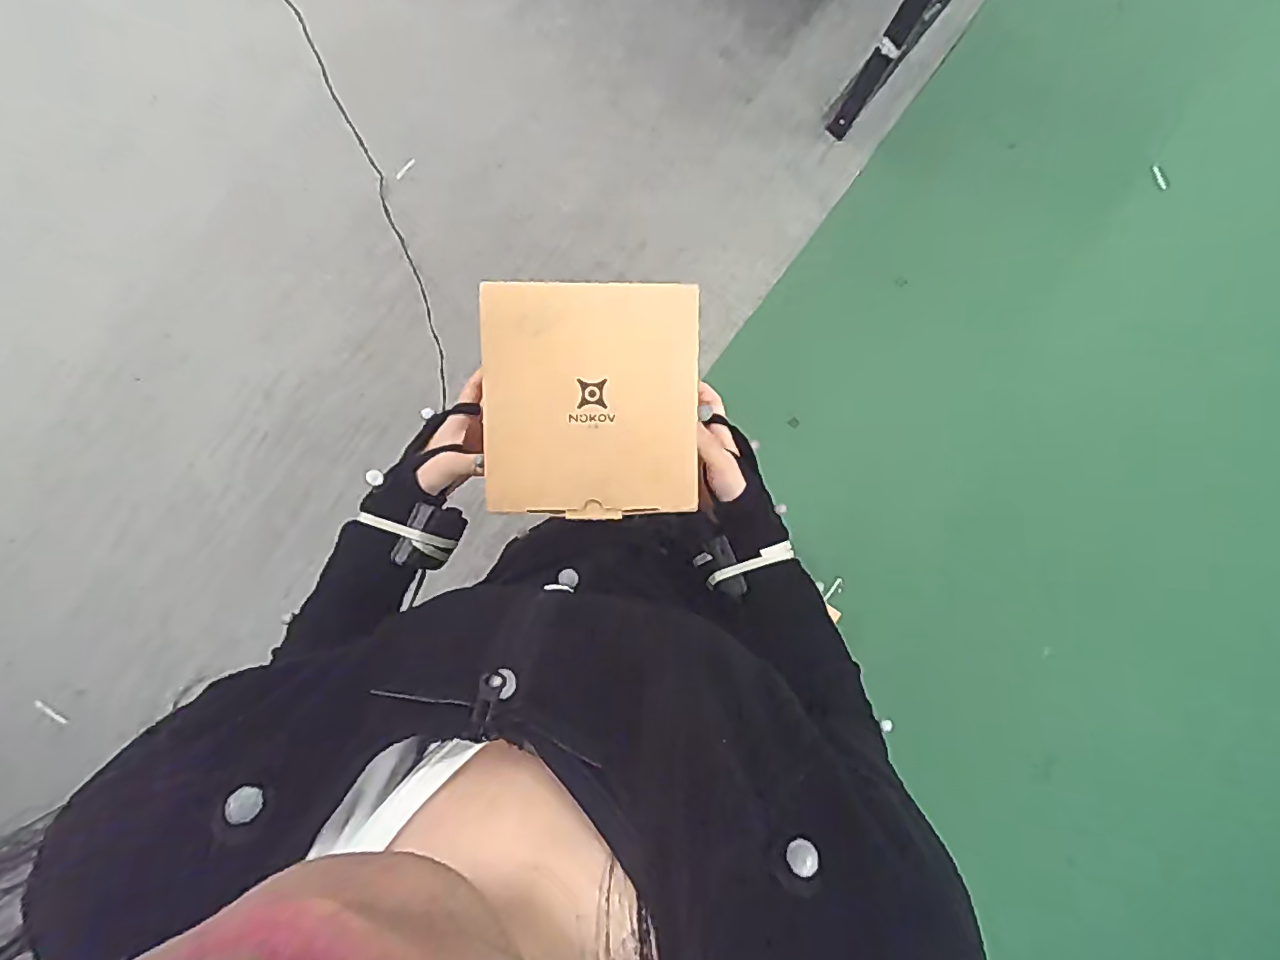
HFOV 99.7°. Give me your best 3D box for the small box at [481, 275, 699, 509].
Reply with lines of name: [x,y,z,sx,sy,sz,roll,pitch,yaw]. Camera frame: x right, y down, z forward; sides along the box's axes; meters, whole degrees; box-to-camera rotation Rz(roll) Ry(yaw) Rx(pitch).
small box: [-0.044,-0.073,0.489,0.168,0.176,0.179,-1,97,-4]
